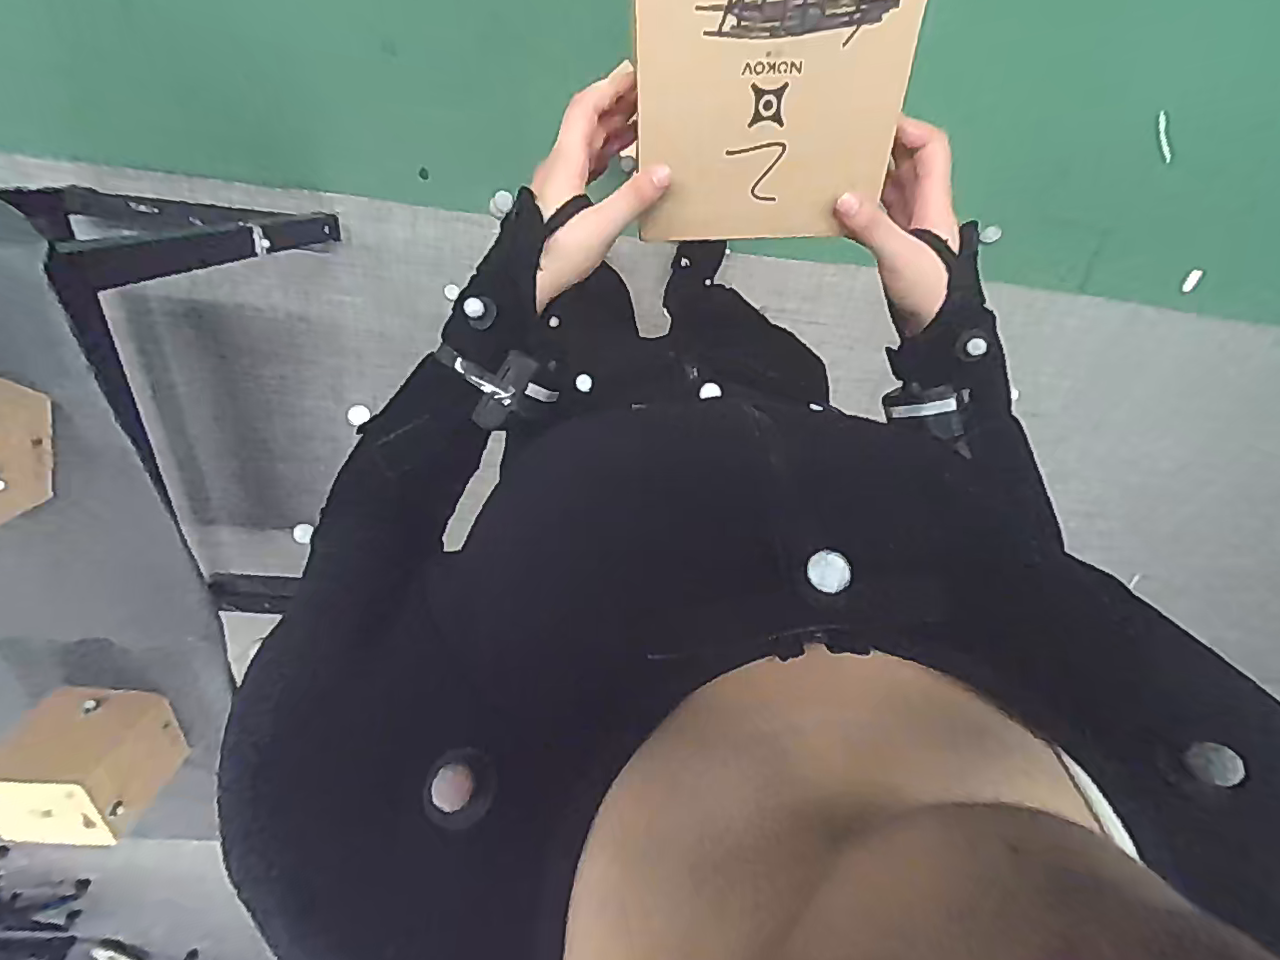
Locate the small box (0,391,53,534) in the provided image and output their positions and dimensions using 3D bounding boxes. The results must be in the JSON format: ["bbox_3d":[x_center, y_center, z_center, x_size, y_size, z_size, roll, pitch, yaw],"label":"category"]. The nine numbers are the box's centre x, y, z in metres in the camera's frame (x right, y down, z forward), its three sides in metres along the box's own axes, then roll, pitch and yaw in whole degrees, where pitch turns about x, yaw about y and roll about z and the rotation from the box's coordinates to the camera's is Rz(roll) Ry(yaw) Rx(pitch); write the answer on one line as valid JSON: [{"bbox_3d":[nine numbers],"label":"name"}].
[{"bbox_3d":[-0.835,-0.020,0.615,0.179,0.176,0.168,25,115,-12],"label":"small box"}]

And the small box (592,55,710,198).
[{"bbox_3d":[0.022,-0.708,1.100,0.168,0.176,0.179,-34,114,16],"label":"small box"}]

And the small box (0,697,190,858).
[{"bbox_3d":[-0.910,0.485,0.895,0.179,0.176,0.168,6,118,-3],"label":"small box"}]
